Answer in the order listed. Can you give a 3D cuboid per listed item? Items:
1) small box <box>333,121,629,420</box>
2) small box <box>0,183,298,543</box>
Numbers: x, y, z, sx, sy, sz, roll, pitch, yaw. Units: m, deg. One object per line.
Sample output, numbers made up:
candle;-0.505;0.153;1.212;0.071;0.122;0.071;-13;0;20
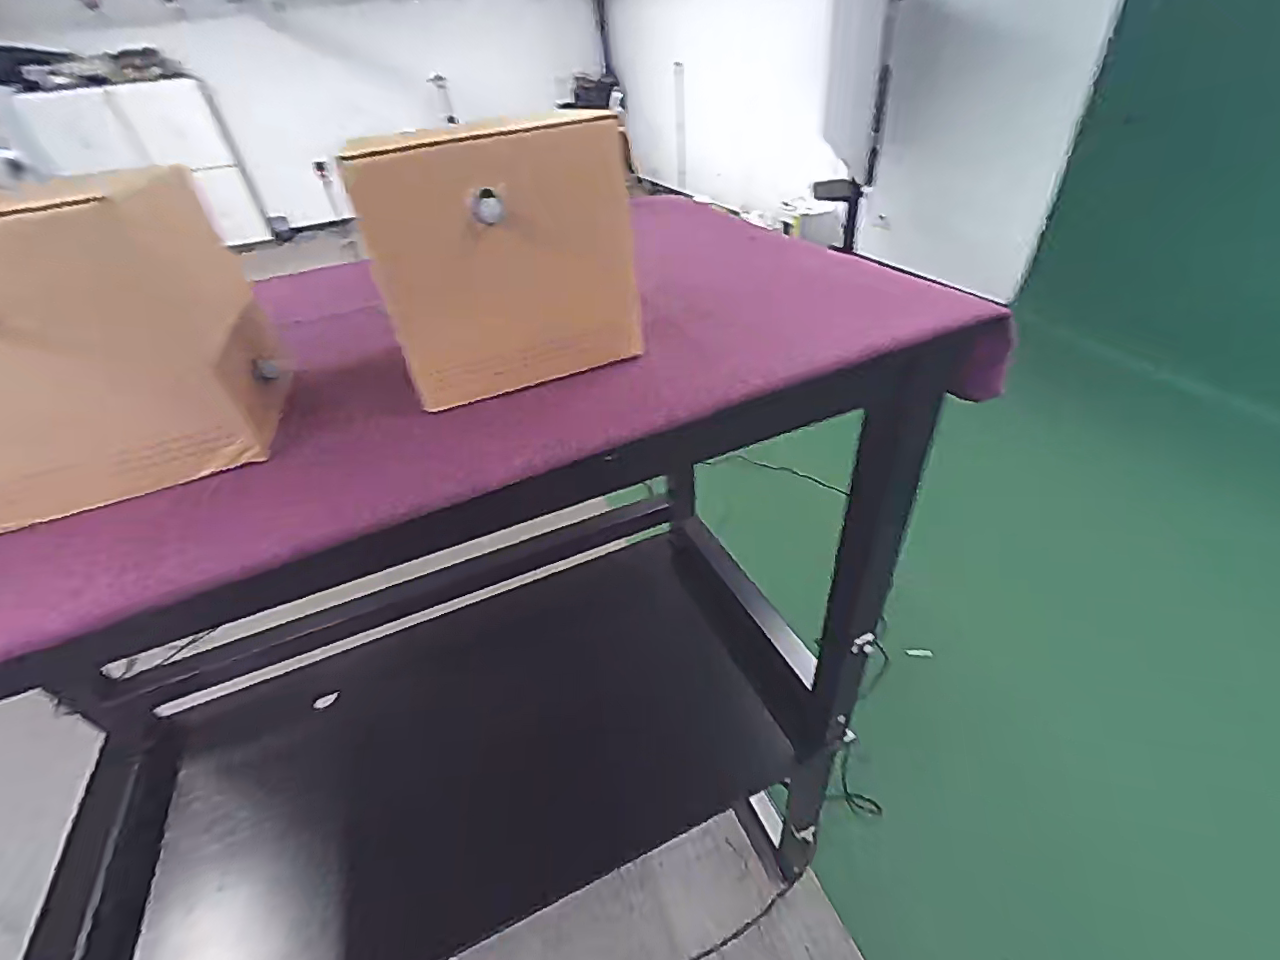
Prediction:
small box;-0.117;-0.174;0.437;0.179;0.176;0.168;-20;39;-13
small box;-0.370;-0.083;0.363;0.179;0.176;0.168;-19;40;-14
